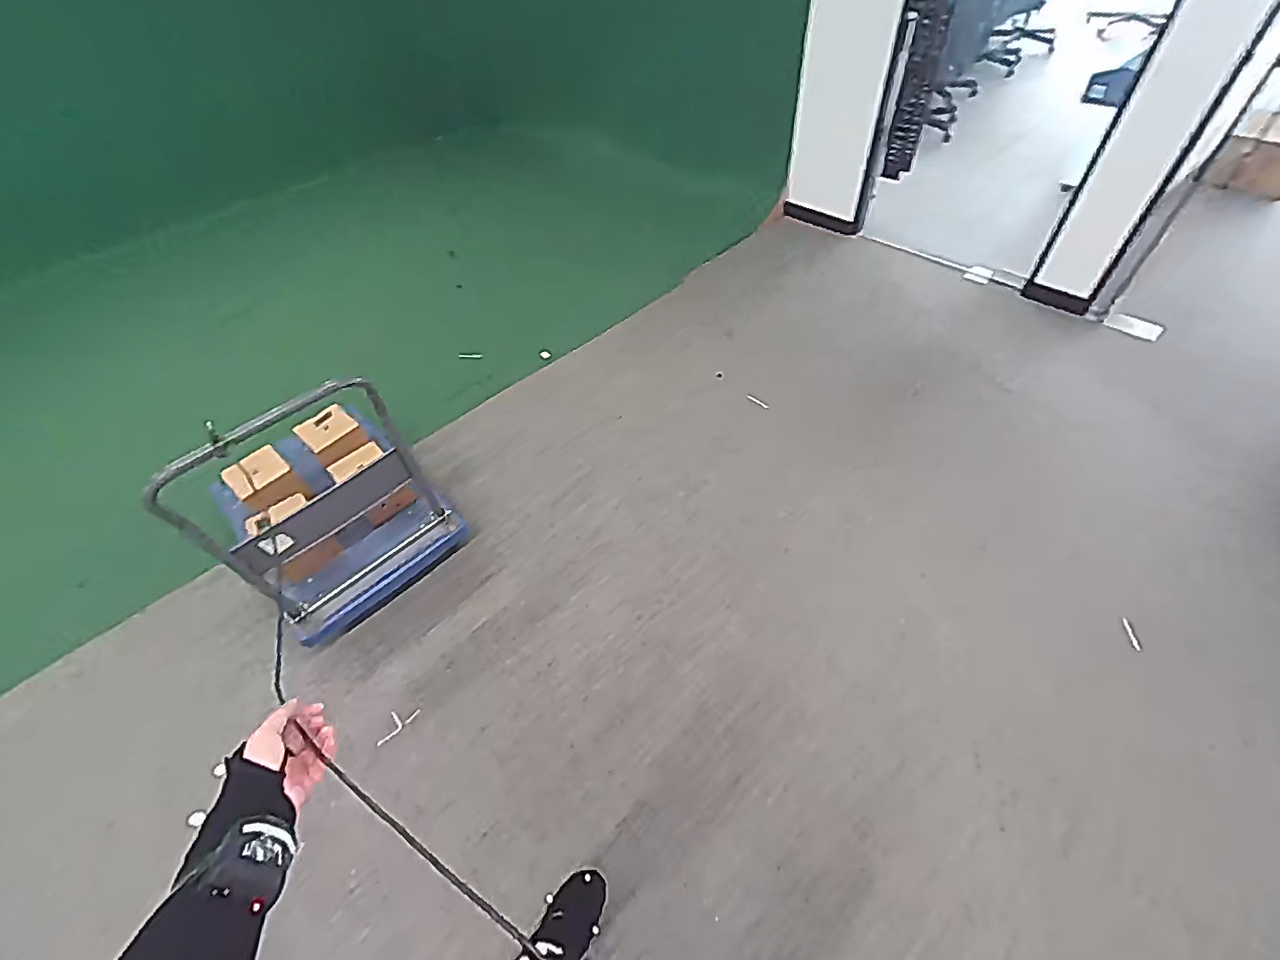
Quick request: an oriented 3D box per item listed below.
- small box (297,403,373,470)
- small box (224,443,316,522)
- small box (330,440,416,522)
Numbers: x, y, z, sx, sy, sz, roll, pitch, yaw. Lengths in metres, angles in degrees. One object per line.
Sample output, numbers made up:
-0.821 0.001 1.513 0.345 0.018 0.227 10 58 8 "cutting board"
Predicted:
-1.070 -0.138 1.927 0.179 0.176 0.168 34 62 27 "small box"
-1.238 0.016 1.819 0.179 0.176 0.168 34 61 28 "small box"
-0.883 0.007 1.796 0.168 0.176 0.179 -37 58 -23 "small box"
